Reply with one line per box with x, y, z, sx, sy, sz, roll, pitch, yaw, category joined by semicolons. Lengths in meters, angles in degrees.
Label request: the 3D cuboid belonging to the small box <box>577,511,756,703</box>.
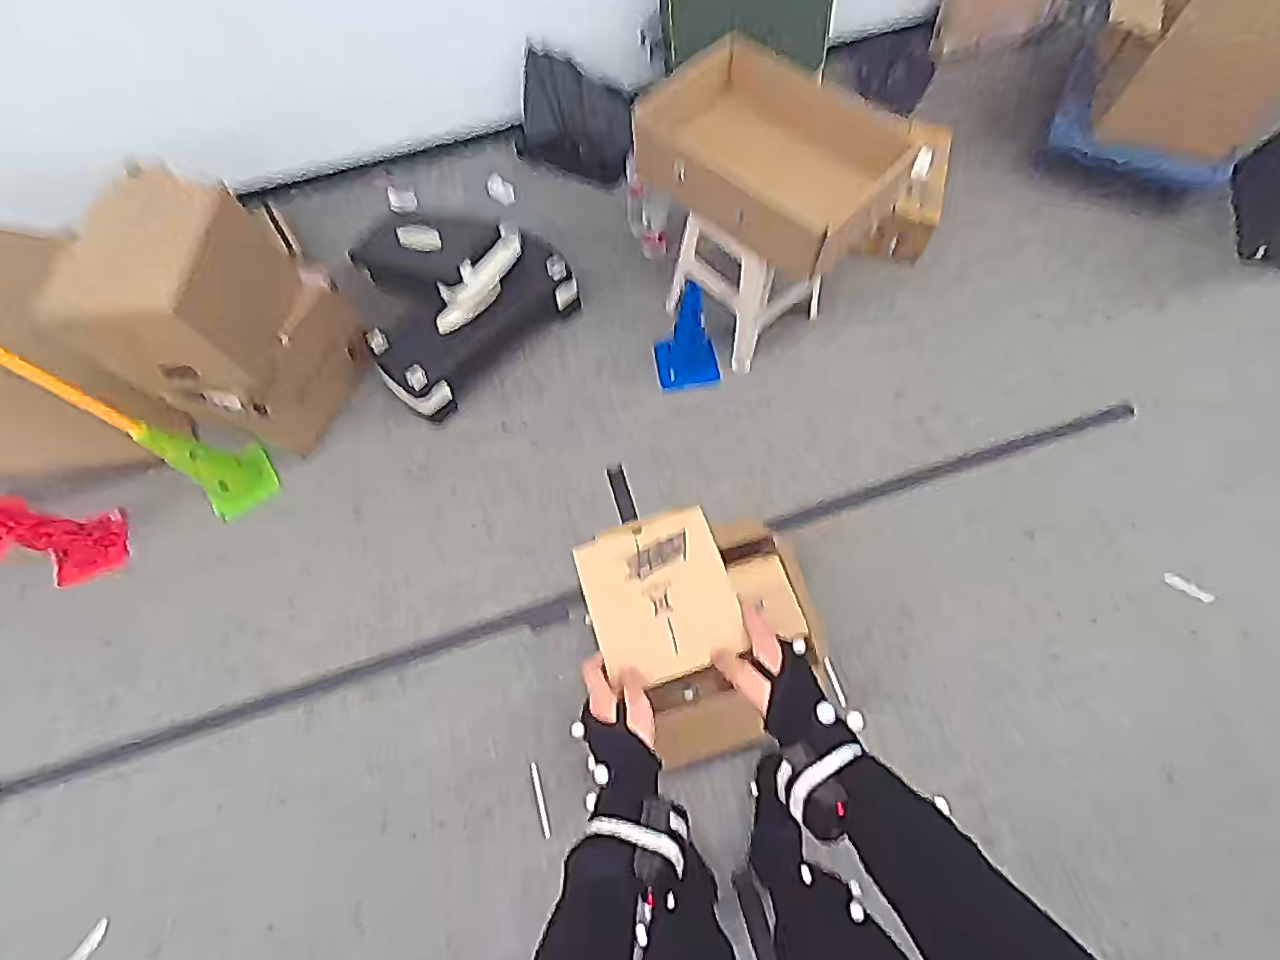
0.032;0.169;0.690;0.168;0.176;0.179;-19;65;-2;small box
